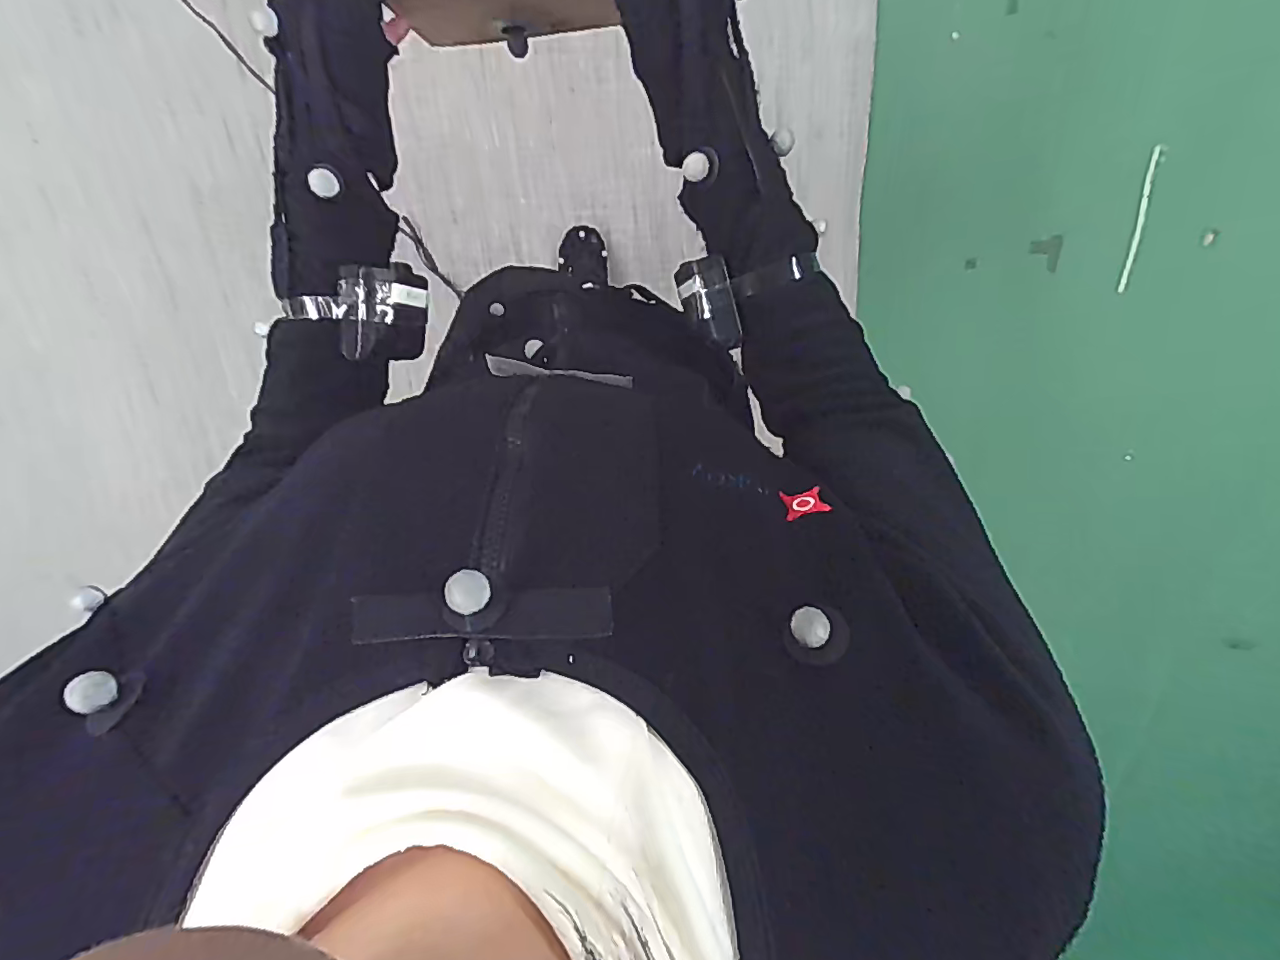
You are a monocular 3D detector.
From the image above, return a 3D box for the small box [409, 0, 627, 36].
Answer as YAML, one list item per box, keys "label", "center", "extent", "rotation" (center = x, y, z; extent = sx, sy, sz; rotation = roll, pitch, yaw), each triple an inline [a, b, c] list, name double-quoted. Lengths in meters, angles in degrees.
- label: "small box"
  center: [-0.095, -0.406, 0.322]
  extent: [0.168, 0.176, 0.179]
  rotation: [-6, 116, 2]

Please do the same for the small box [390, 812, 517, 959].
- label: "small box"
  center: [-0.347, 0.786, 1.048]
  extent: [0.168, 0.176, 0.179]
  rotation: [-9, 110, 1]

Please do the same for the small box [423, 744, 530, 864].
- label: "small box"
  center: [-0.351, 0.725, 1.201]
  extent: [0.168, 0.176, 0.179]
  rotation: [-10, 111, 1]
